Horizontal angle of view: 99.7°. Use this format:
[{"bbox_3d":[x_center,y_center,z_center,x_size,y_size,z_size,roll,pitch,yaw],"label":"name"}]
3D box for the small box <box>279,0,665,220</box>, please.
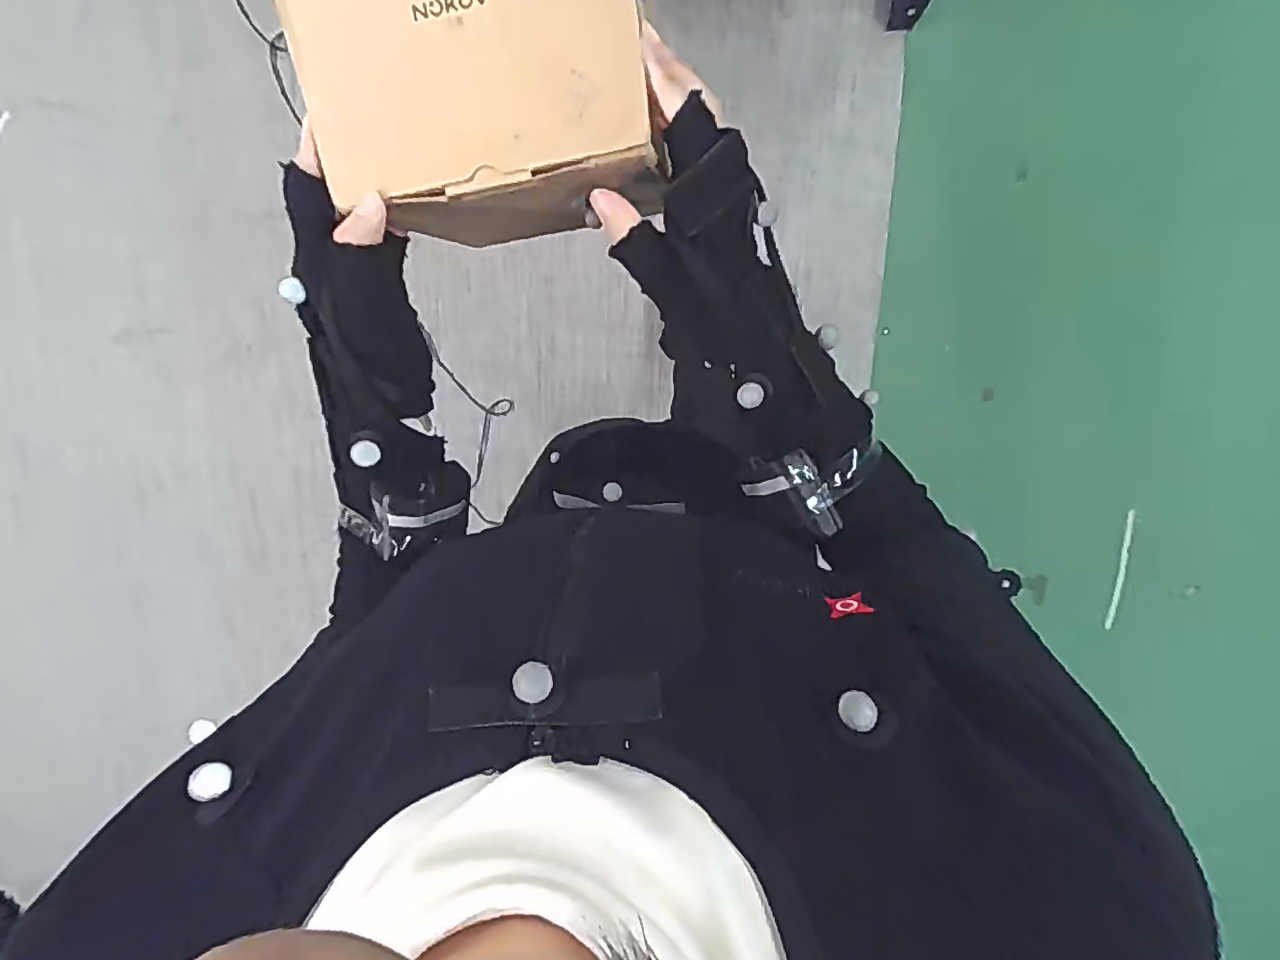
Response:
[{"bbox_3d":[-0.080,-0.263,0.317,0.168,0.176,0.179,-5,106,9],"label":"small box"}]
